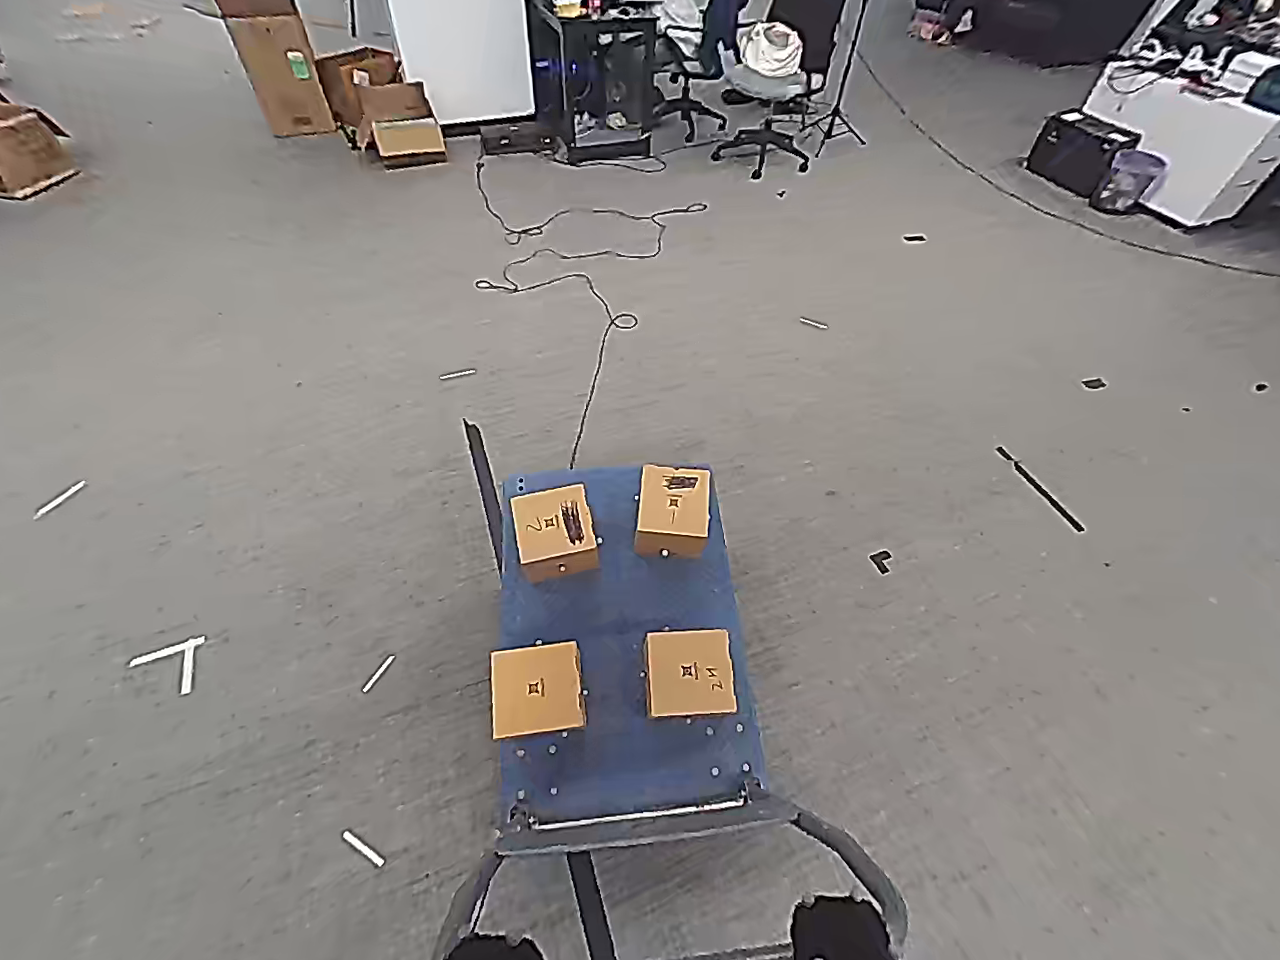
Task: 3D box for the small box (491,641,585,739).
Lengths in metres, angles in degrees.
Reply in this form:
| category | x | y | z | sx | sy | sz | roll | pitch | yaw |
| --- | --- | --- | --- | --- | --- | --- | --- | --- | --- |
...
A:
| category | x | y | z | sx | sy | sz | roll | pitch | yaw |
| --- | --- | --- | --- | --- | --- | --- | --- | --- | --- |
| small box | -0.214 | 0.452 | 1.155 | 0.179 | 0.176 | 0.168 | -5 | 64 | -8 |

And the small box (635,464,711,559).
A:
| category | x | y | z | sx | sy | sz | roll | pitch | yaw |
| --- | --- | --- | --- | --- | --- | --- | --- | --- | --- |
| small box | 0.079 | 0.082 | 1.351 | 0.168 | 0.176 | 0.179 | 6 | 65 | 0 |

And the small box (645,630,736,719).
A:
| category | x | y | z | sx | sy | sz | roll | pitch | yaw |
| --- | --- | --- | --- | --- | --- | --- | --- | --- | --- |
| small box | 0.101 | 0.429 | 1.184 | 0.179 | 0.176 | 0.168 | -1 | 65 | -4 |
